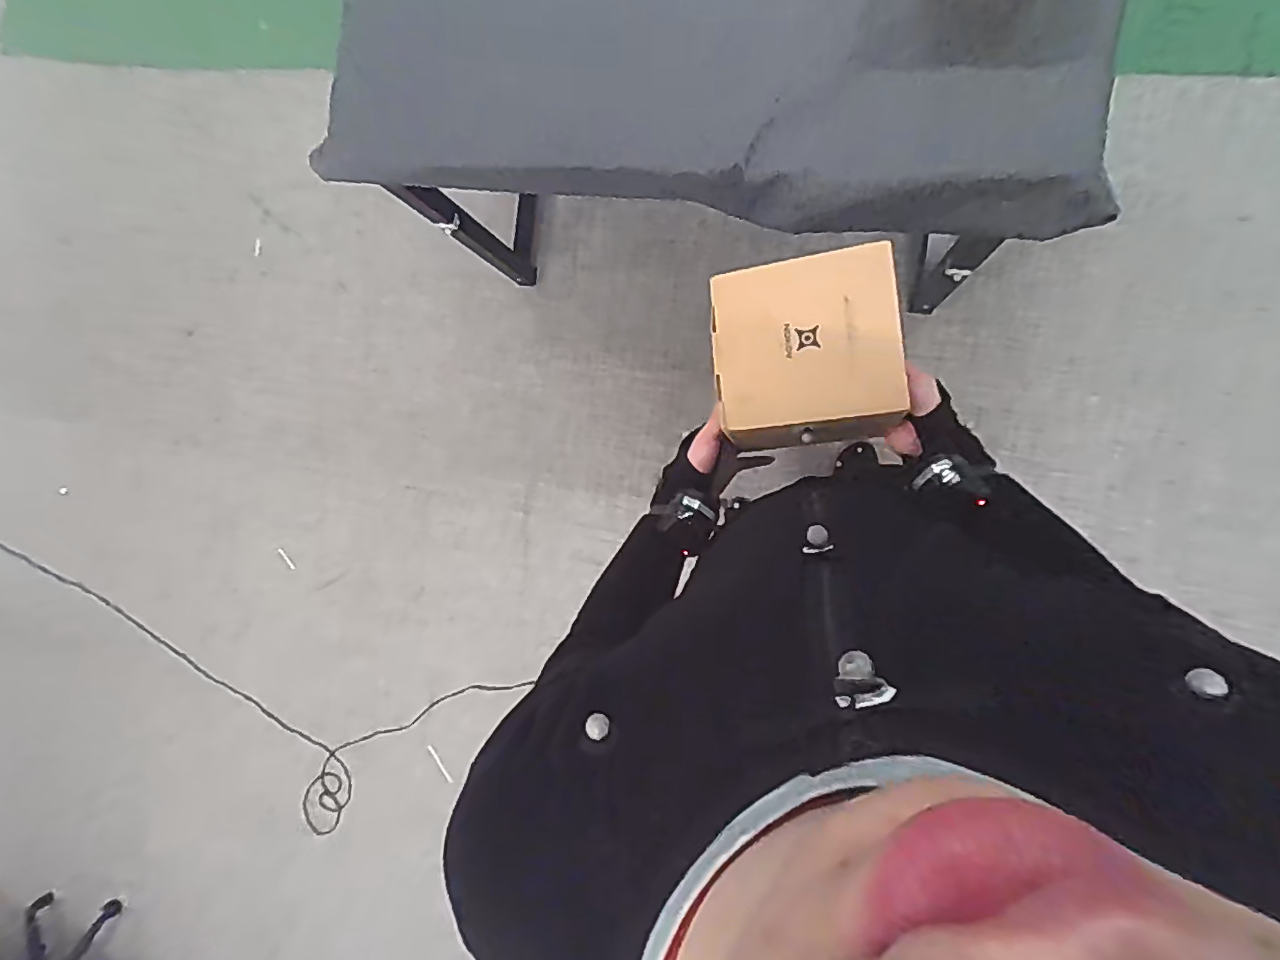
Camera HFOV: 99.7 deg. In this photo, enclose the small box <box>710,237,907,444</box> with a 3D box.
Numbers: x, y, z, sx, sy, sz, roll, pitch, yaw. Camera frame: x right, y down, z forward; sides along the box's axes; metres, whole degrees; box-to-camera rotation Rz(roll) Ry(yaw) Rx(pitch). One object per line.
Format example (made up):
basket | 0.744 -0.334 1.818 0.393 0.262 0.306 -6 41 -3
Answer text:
small box | 0.183 -0.137 0.604 0.179 0.176 0.168 -5 85 16
